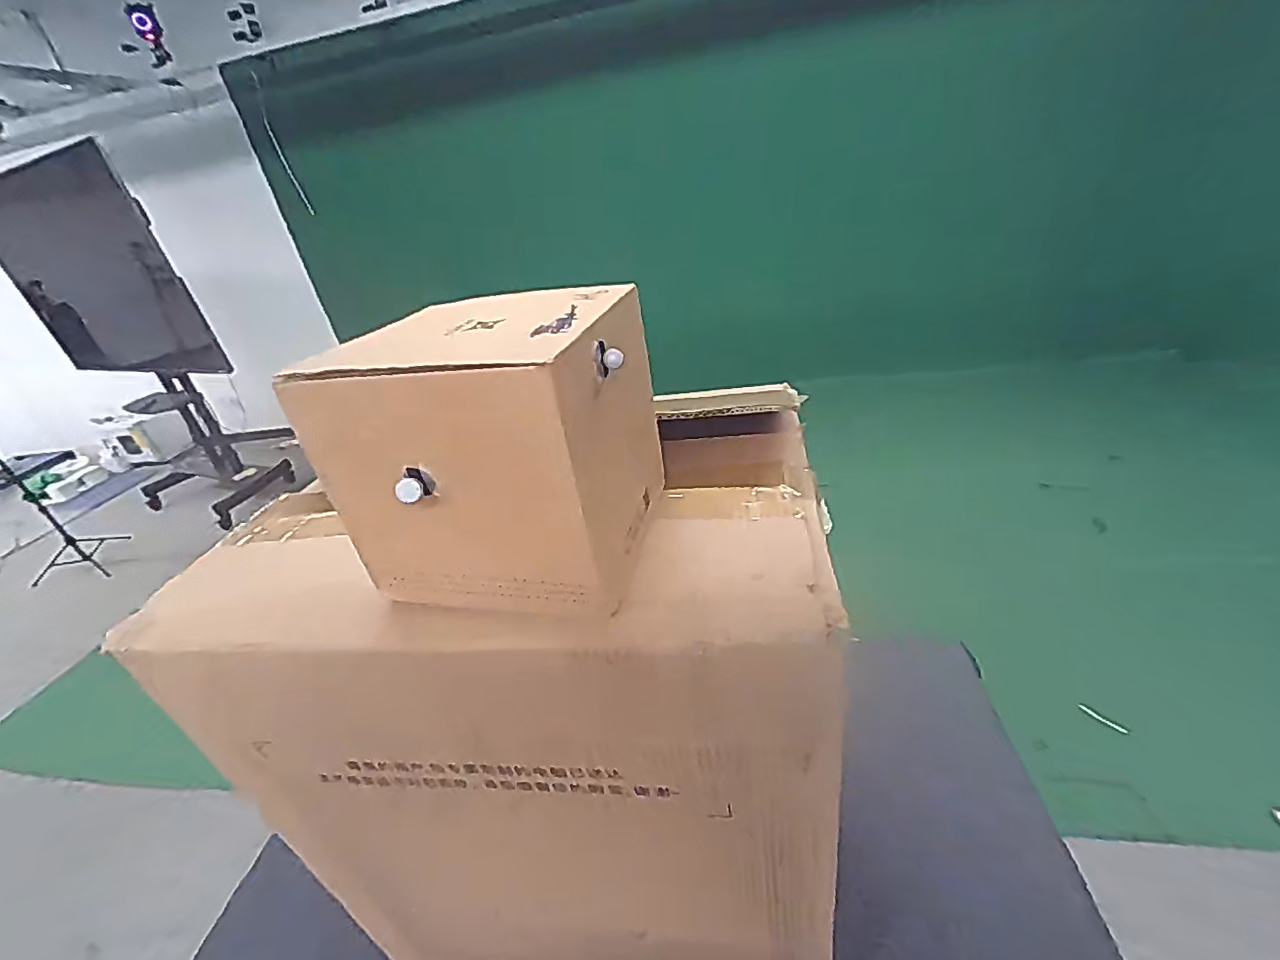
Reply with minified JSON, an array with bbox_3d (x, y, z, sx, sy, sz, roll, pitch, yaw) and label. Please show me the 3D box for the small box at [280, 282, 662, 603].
[{"bbox_3d":[-0.093,-0.030,0.388,0.179,0.176,0.168,0,32,17],"label":"small box"}]
